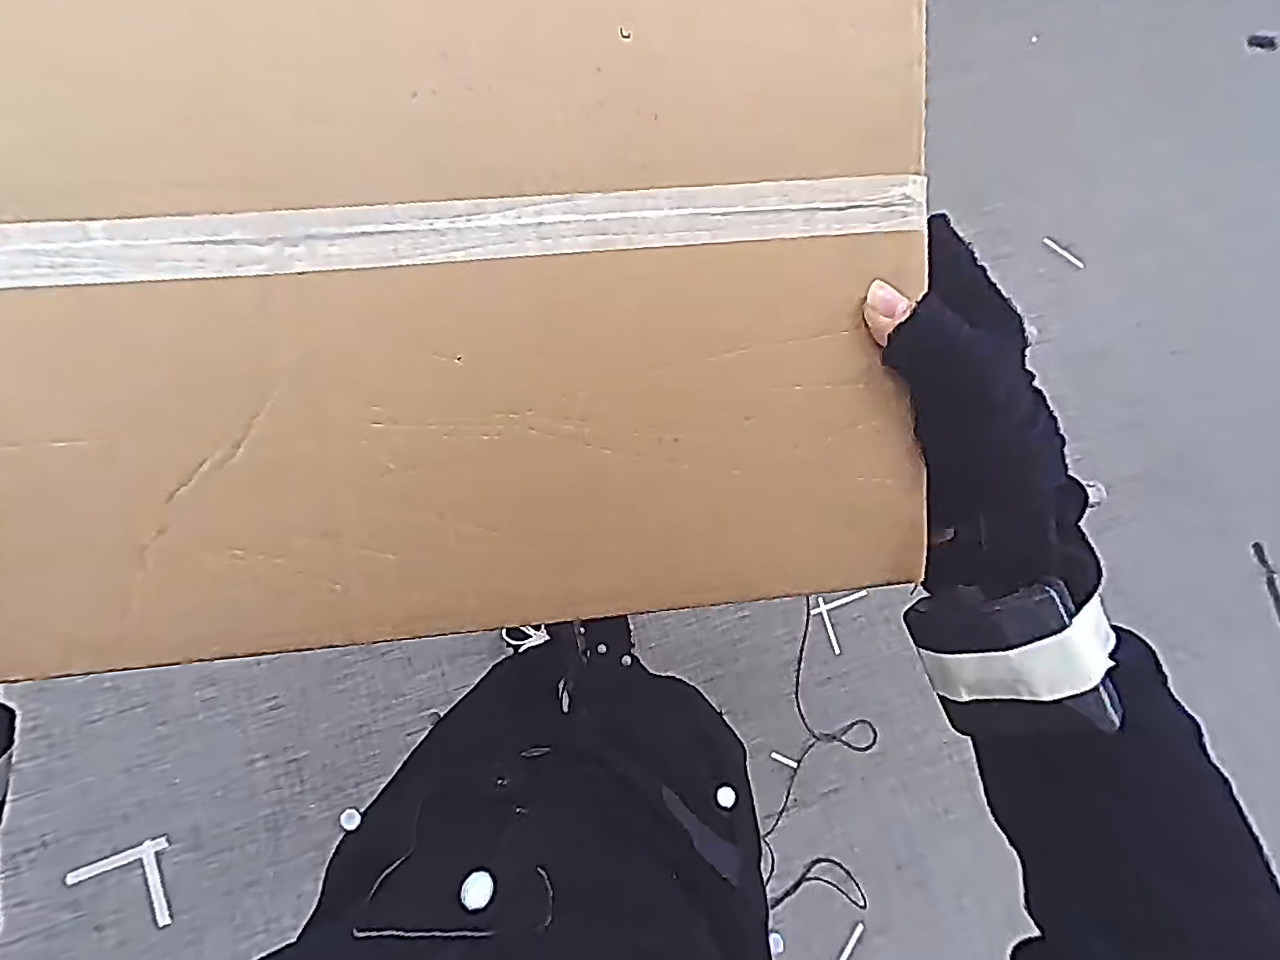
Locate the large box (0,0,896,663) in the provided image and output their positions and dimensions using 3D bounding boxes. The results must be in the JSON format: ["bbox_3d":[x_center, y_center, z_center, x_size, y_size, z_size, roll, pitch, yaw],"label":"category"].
[{"bbox_3d":[-0.102,-0.115,0.361,0.408,0.320,0.320,-5,98,-5],"label":"large box"}]
